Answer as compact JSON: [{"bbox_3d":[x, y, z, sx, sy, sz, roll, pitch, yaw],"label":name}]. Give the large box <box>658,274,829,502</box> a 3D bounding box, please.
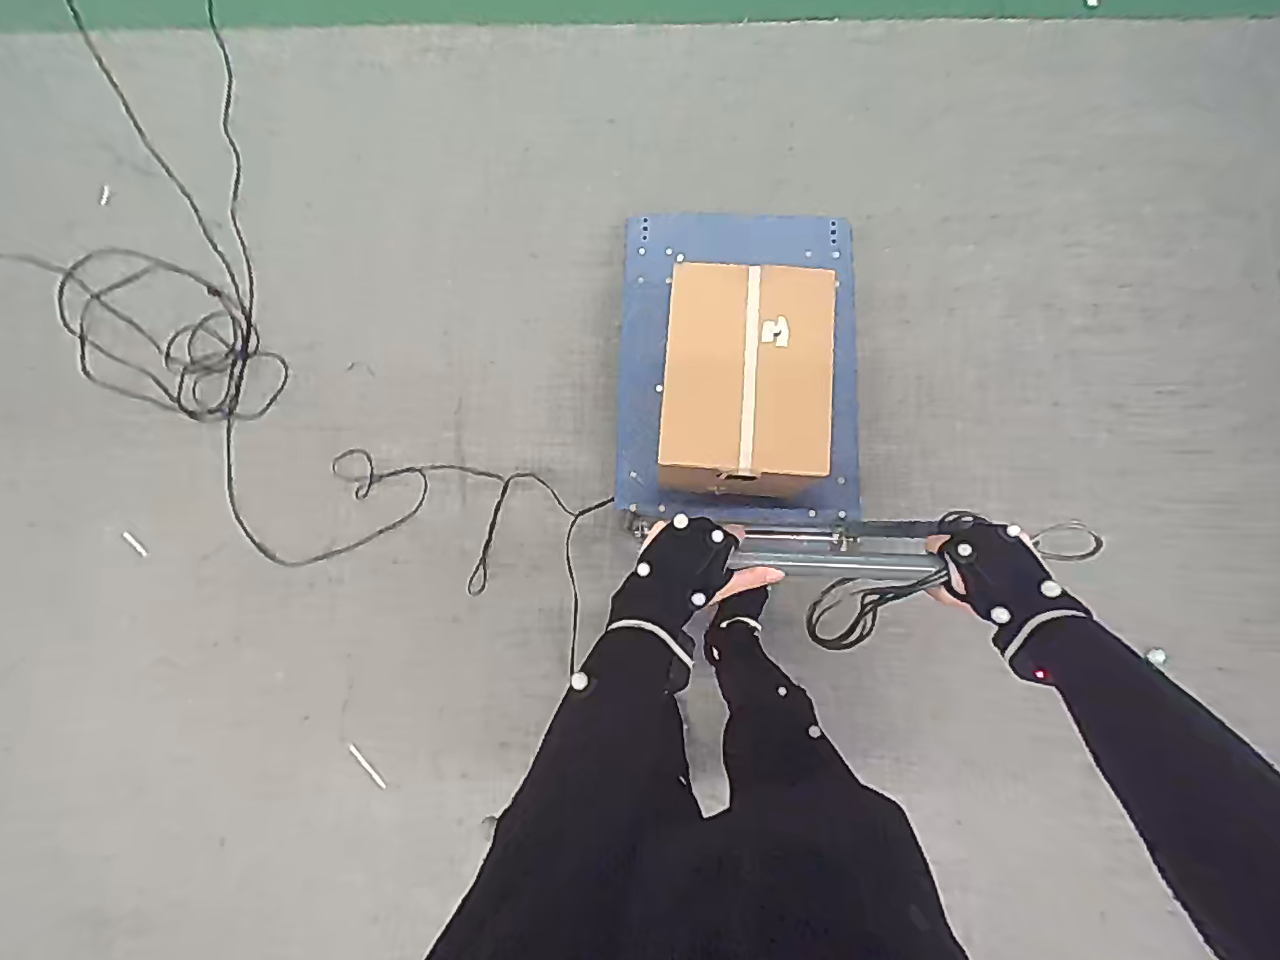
[{"bbox_3d":[0.205,-0.173,1.164,0.320,0.320,0.408,5,80,2],"label":"large box"}]
